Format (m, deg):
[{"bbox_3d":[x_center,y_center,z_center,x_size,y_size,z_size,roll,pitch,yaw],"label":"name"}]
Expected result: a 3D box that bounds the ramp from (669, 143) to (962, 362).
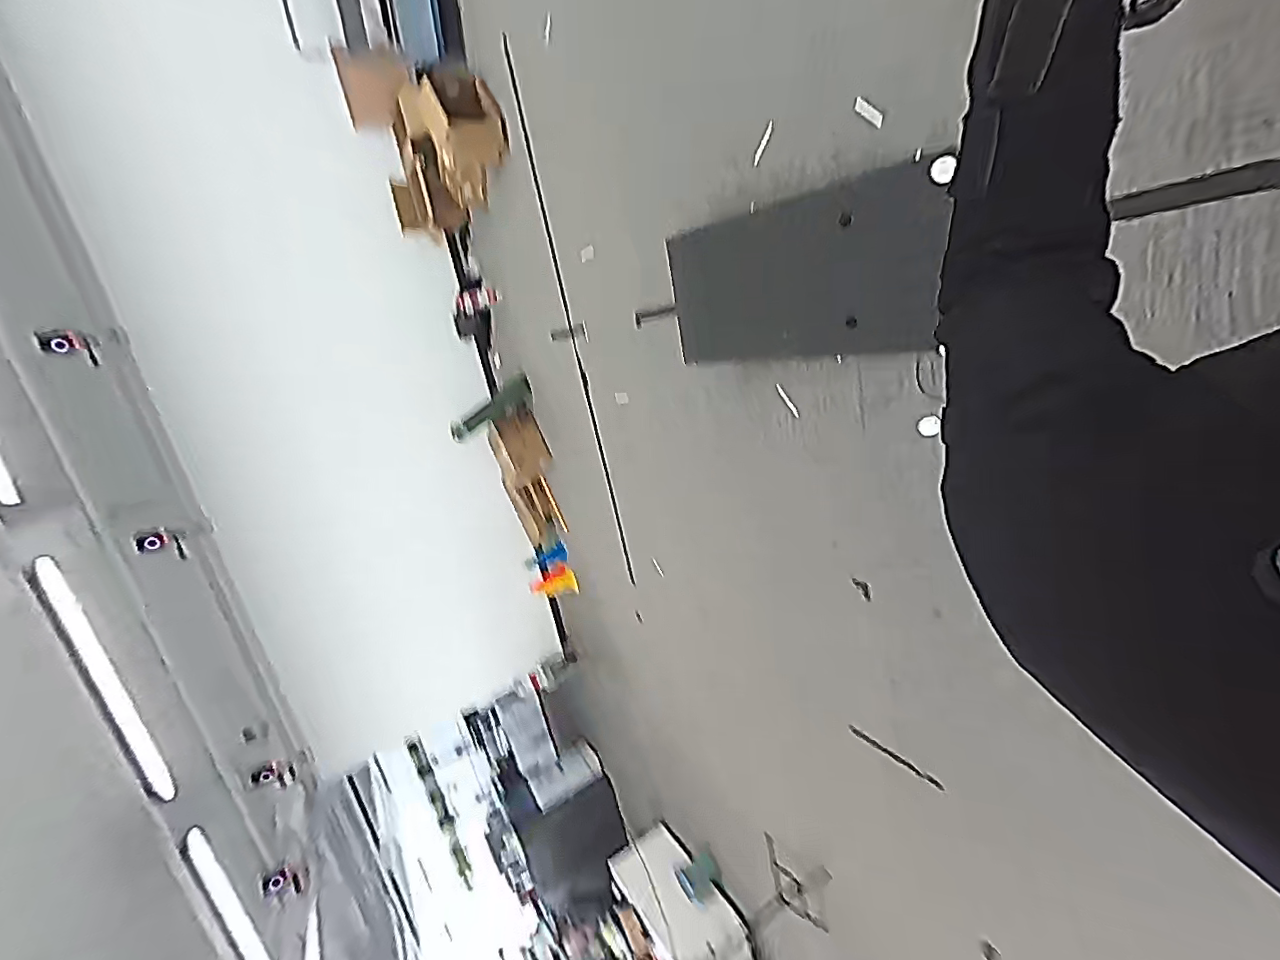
[{"bbox_3d":[0.487,-0.653,1.742,0.991,0.206,0.509,15,120,57],"label":"ramp"}]
